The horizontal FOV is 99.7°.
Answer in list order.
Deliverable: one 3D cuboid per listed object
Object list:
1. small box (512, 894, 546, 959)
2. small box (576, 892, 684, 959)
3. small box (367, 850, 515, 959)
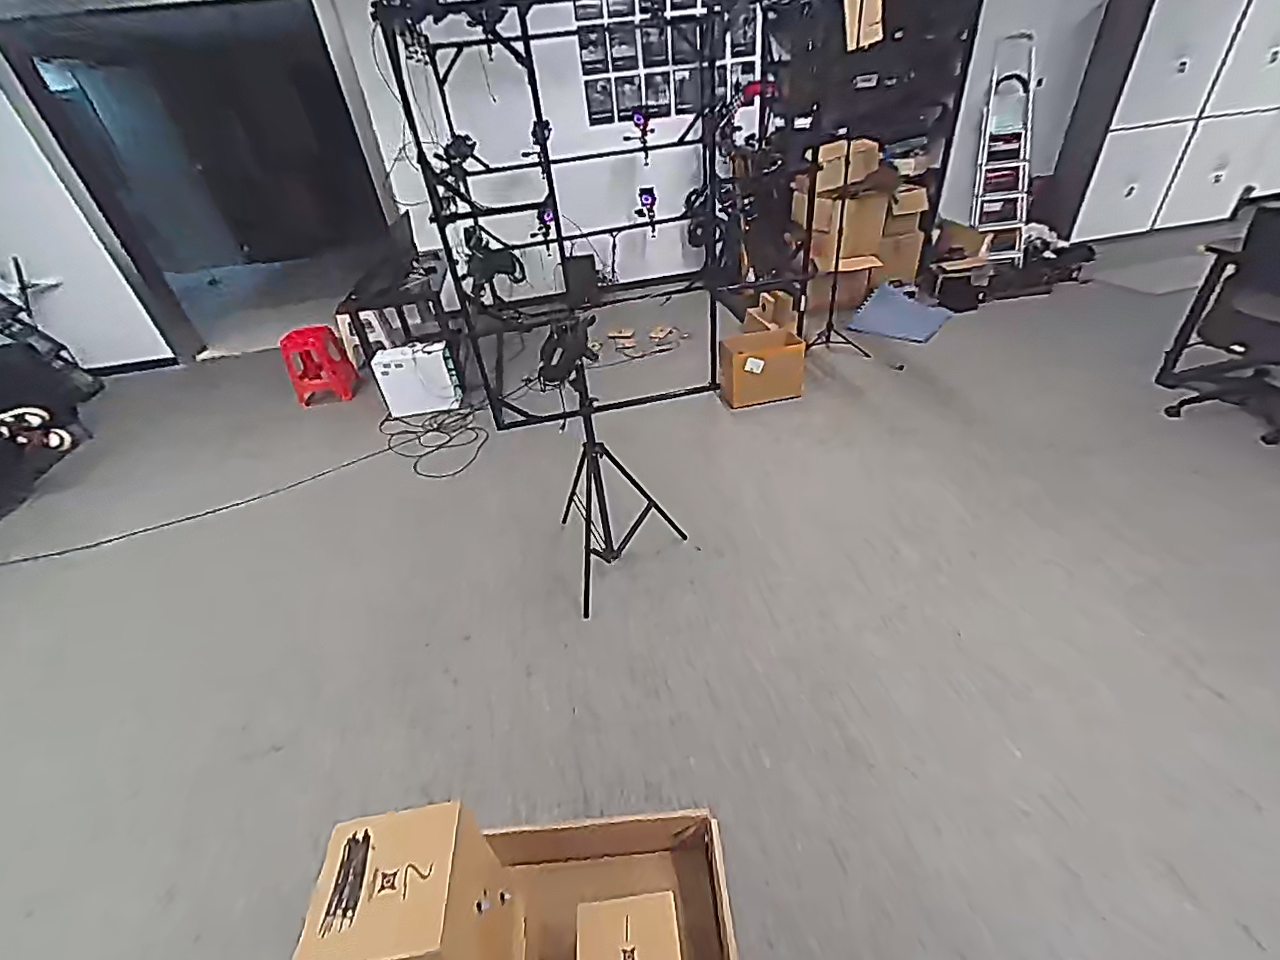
[{"bbox_3d":[-0.265,0.832,0.904,0.179,0.176,0.168,-7,36,-1],"label":"small box"},{"bbox_3d":[-0.010,0.816,0.883,0.168,0.176,0.179,-8,35,-1],"label":"small box"},{"bbox_3d":[-0.290,0.700,0.811,0.168,0.176,0.179,-10,35,-3],"label":"small box"}]
